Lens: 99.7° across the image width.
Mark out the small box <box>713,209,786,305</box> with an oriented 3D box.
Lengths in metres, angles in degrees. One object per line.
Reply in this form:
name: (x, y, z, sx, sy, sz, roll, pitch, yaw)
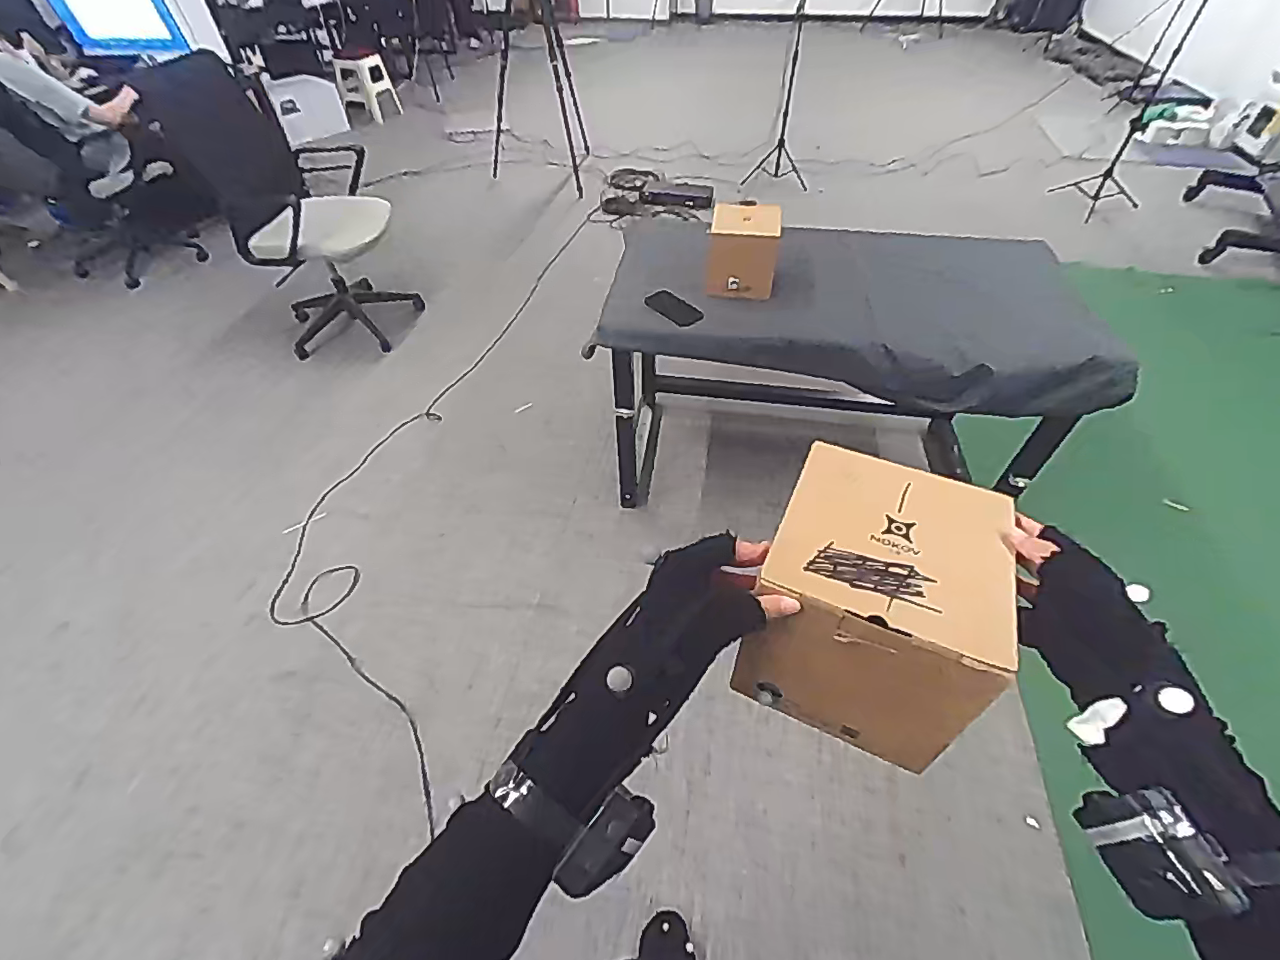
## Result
small box: (0.279, -0.573, 1.390, 0.168, 0.176, 0.179, 6, 49, 8)
